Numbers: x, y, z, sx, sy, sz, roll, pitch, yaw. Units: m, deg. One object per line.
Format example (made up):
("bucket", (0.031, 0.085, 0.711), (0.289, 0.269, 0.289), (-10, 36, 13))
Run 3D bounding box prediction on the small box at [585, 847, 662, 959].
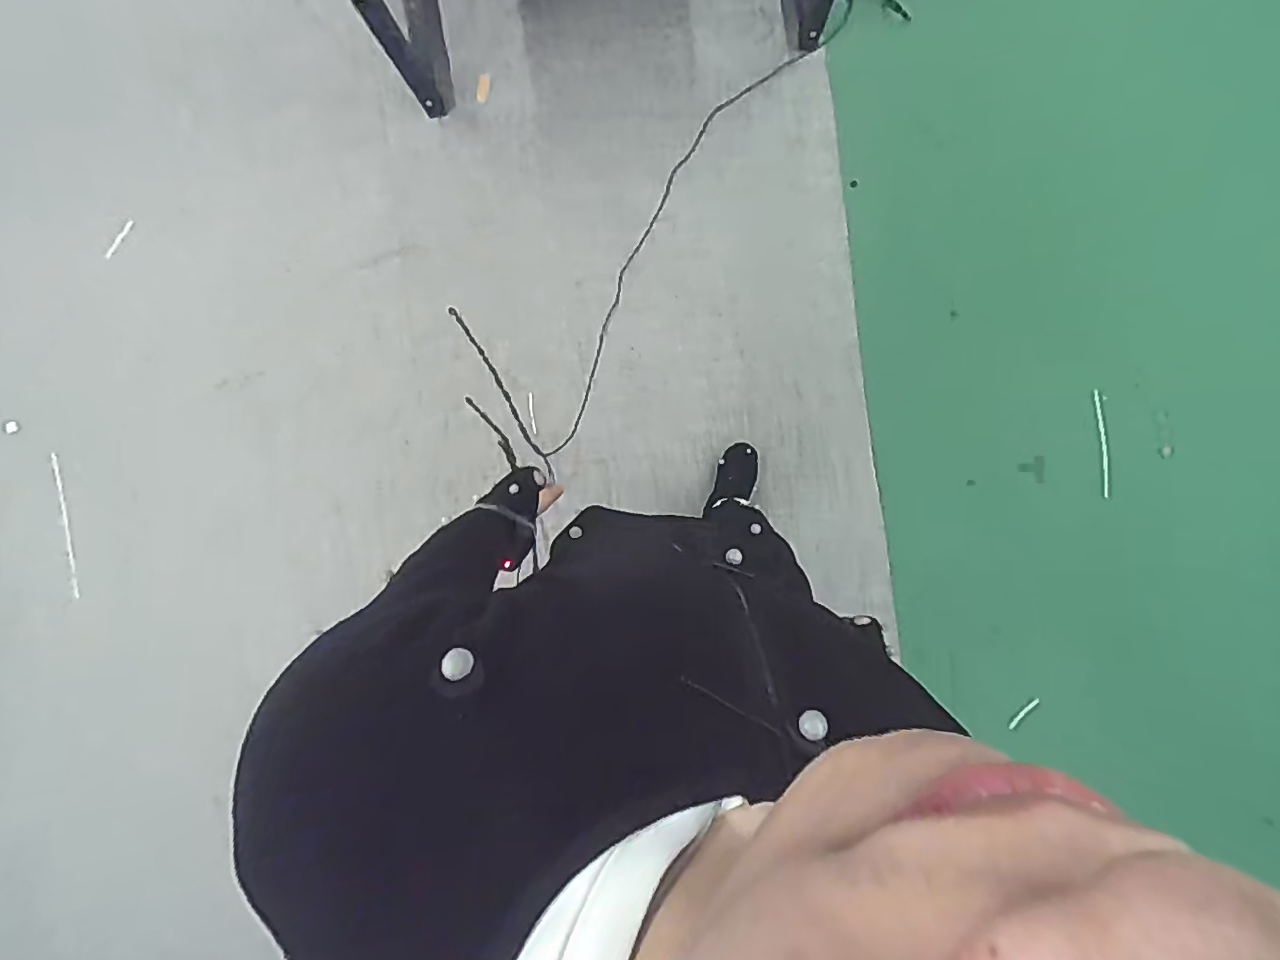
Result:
("small box", (-0.037, 1.084, 1.391), (0.179, 0.176, 0.168), (-6, 91, 2))
